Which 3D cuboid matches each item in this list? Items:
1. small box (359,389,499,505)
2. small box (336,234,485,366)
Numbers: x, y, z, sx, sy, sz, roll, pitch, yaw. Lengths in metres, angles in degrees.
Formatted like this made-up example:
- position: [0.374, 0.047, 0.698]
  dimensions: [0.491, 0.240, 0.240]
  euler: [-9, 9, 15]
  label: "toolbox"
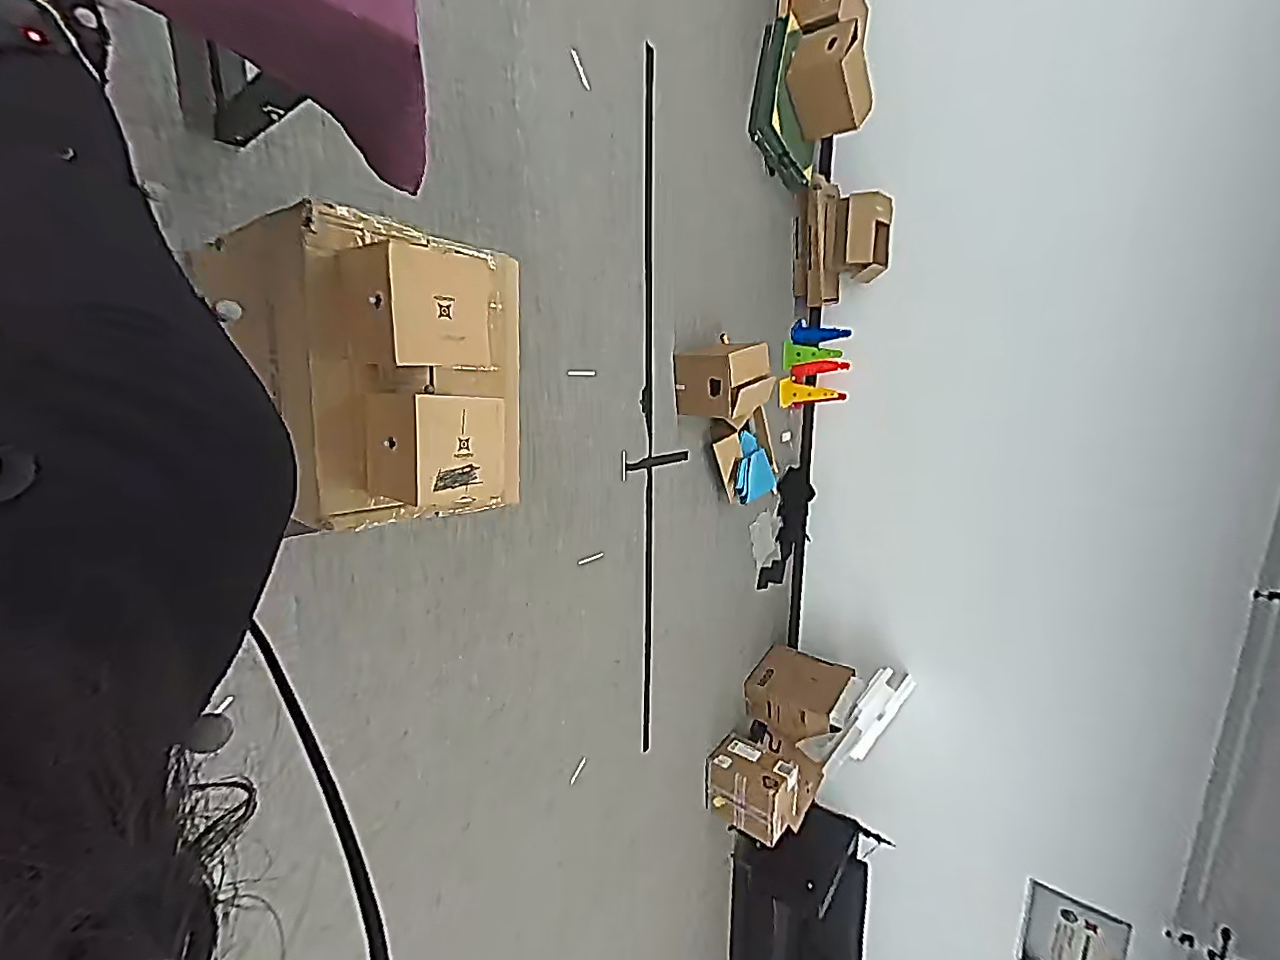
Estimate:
- position: [-0.361, -0.062, 0.926]
  dimensions: [0.168, 0.176, 0.179]
  euler: [-7, 101, -51]
  label: "small box"
- position: [-0.370, -0.278, 0.871]
  dimensions: [0.168, 0.176, 0.179]
  euler: [-12, 109, -50]
  label: "small box"
